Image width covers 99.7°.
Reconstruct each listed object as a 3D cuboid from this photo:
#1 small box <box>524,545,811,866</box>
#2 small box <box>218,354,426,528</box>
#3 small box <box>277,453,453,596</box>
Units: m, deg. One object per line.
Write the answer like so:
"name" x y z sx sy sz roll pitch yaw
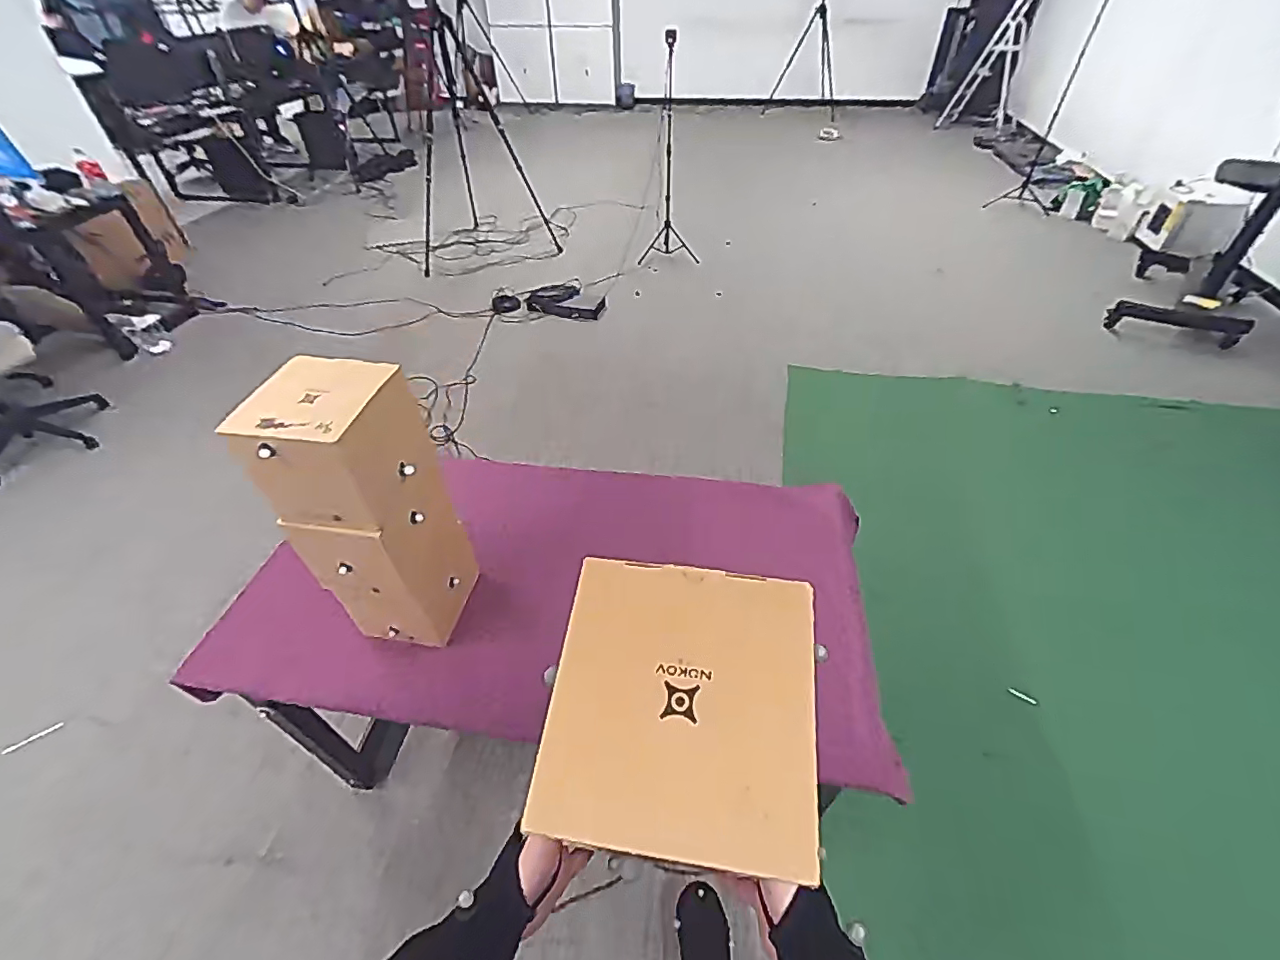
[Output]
"small box" 0.031 0.172 0.409 0.168 0.176 0.179 5 55 8
"small box" -0.428 -0.057 0.770 0.168 0.176 0.179 5 45 7
"small box" -0.428 0.066 0.879 0.168 0.176 0.179 7 45 8
